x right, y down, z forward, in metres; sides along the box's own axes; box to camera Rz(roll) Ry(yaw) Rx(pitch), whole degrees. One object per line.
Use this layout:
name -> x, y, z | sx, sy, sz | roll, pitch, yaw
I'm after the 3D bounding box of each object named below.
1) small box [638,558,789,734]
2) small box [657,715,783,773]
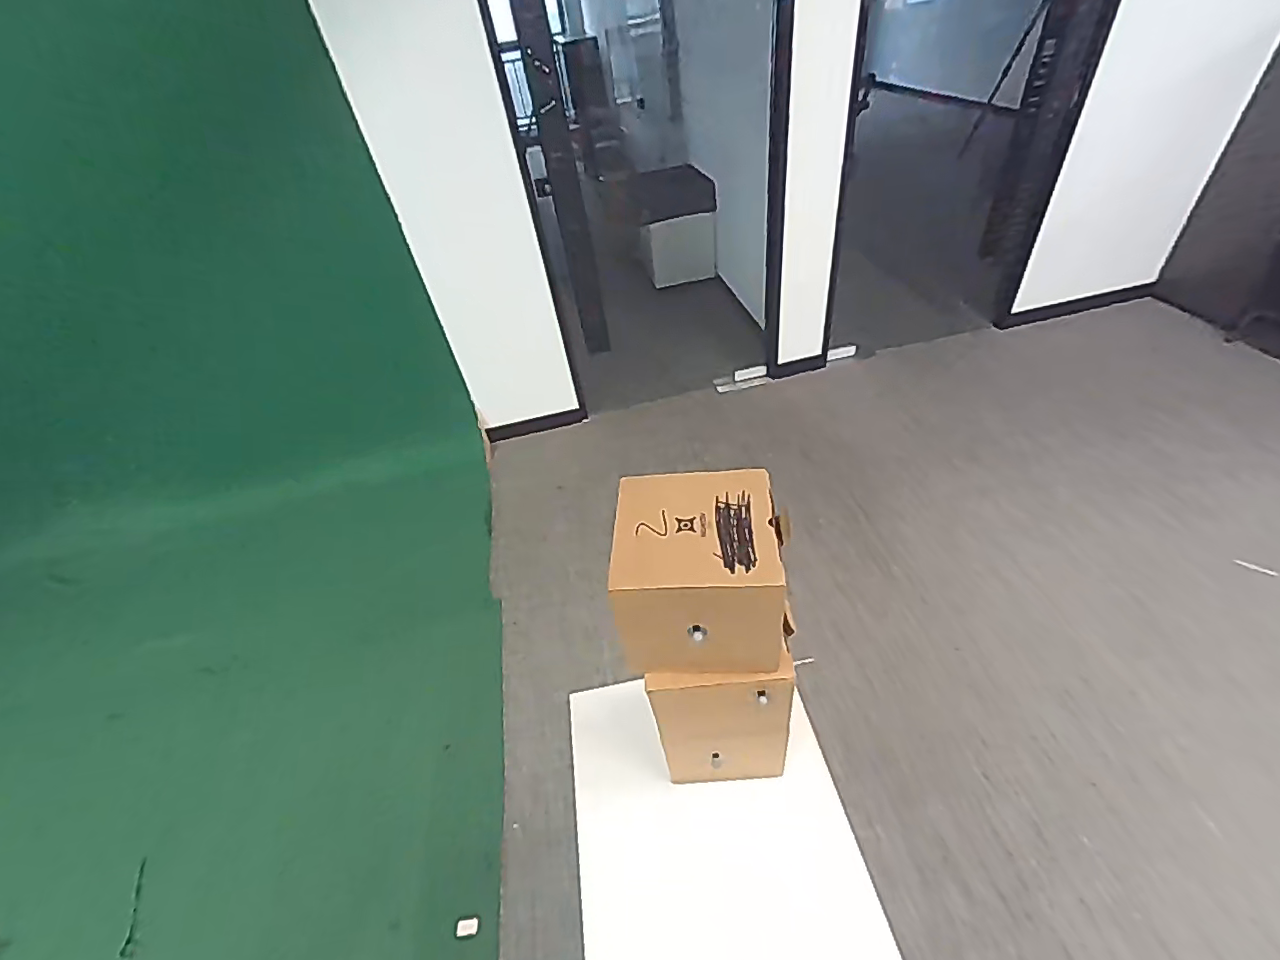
small box -> 0.096, 0.229, 0.736 | 0.179, 0.176, 0.168 | -7, 43, 3
small box -> 0.120, 0.344, 0.849 | 0.179, 0.176, 0.168 | -7, 43, 4
